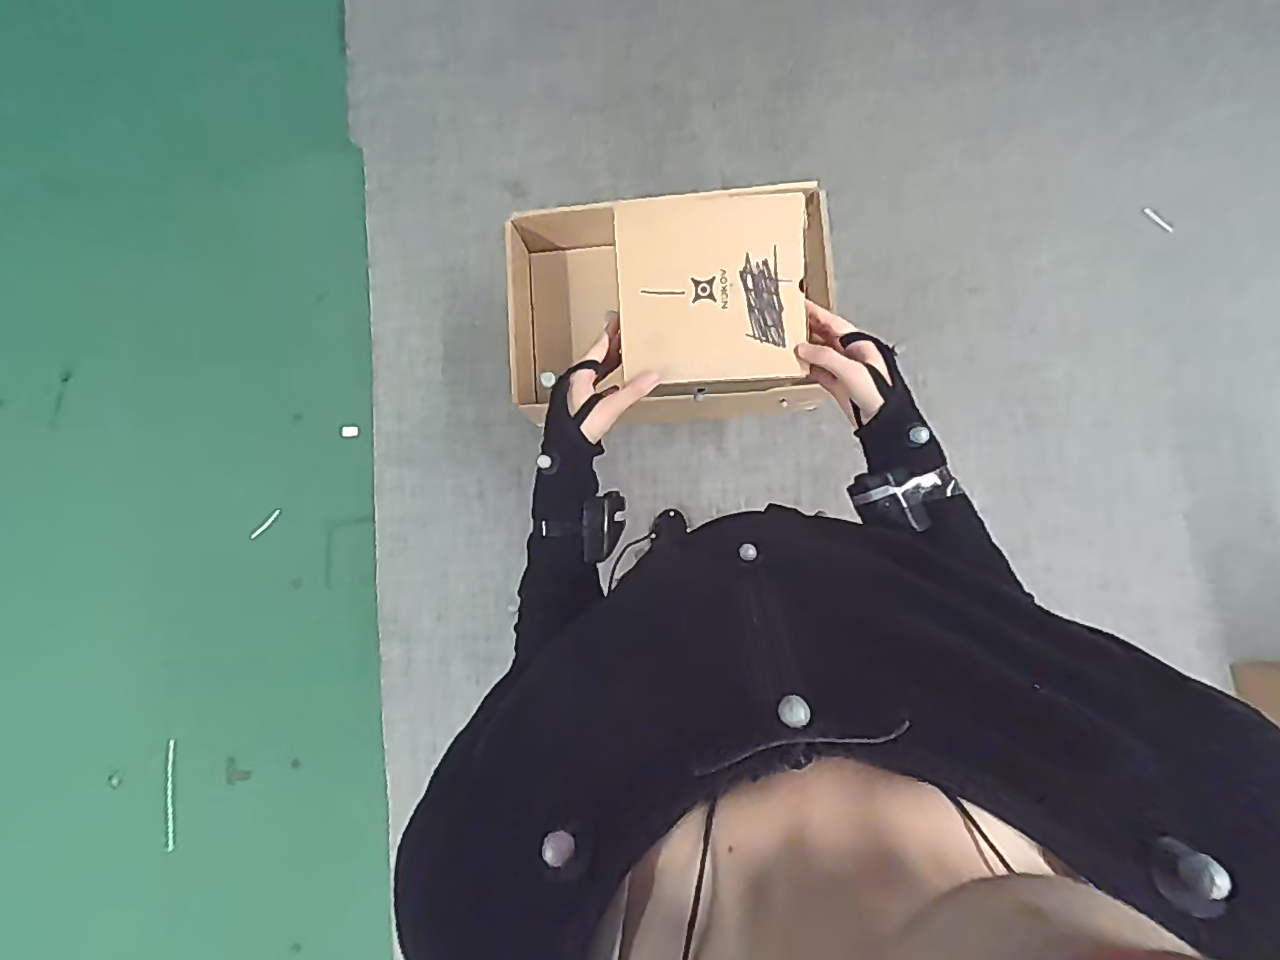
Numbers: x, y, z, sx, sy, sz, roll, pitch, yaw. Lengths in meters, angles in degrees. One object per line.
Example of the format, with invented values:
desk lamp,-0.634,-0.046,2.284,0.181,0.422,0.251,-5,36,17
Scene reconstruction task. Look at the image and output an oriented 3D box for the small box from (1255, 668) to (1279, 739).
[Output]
small box,1.621,0.542,1.269,0.168,0.176,0.179,-6,84,5
